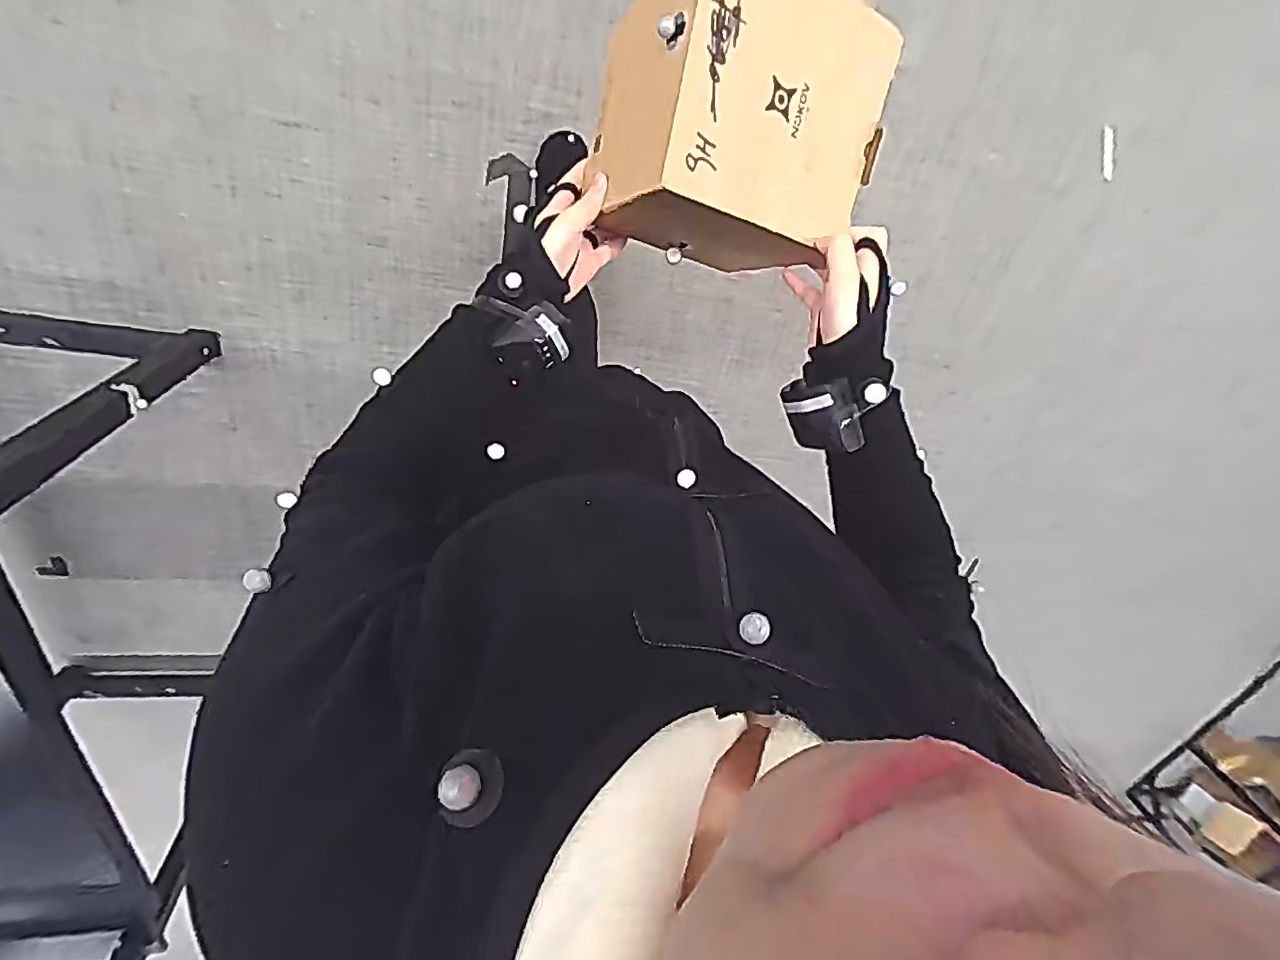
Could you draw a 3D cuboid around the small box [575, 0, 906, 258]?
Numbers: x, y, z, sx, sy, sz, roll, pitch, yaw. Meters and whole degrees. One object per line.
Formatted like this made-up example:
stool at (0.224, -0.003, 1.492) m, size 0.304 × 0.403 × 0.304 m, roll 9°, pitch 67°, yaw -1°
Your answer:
small box at (0.068, -0.288, 0.439) m, size 0.179 × 0.176 × 0.168 m, roll 6°, pitch 103°, yaw -29°
